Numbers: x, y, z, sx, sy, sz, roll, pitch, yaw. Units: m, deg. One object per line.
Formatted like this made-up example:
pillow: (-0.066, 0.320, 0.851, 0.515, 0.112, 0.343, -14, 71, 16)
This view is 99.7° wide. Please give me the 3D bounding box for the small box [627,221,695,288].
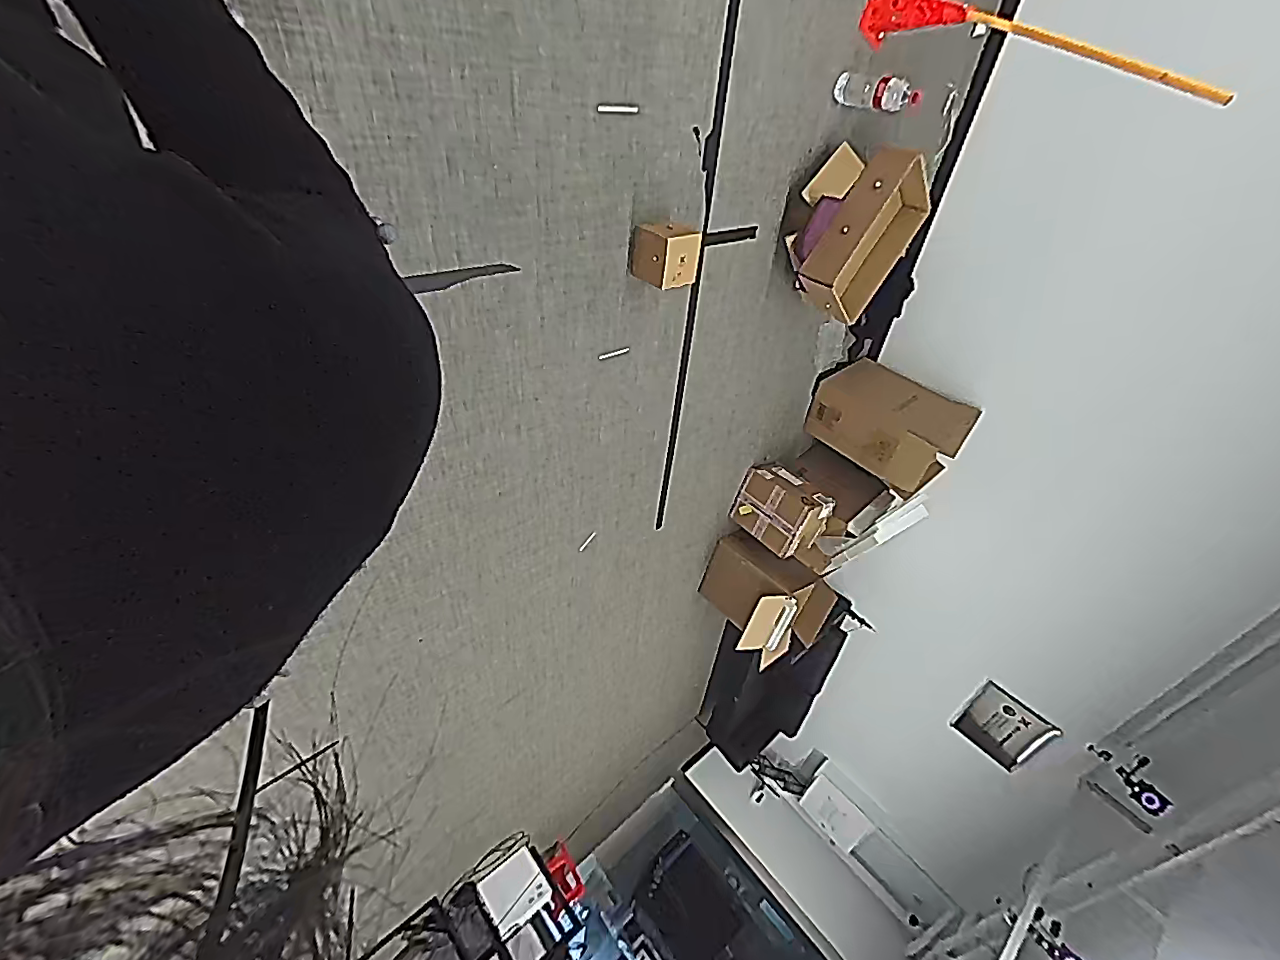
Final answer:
small box: (0.068, -0.804, 1.912, 0.168, 0.176, 0.179, -25, 140, -34)
